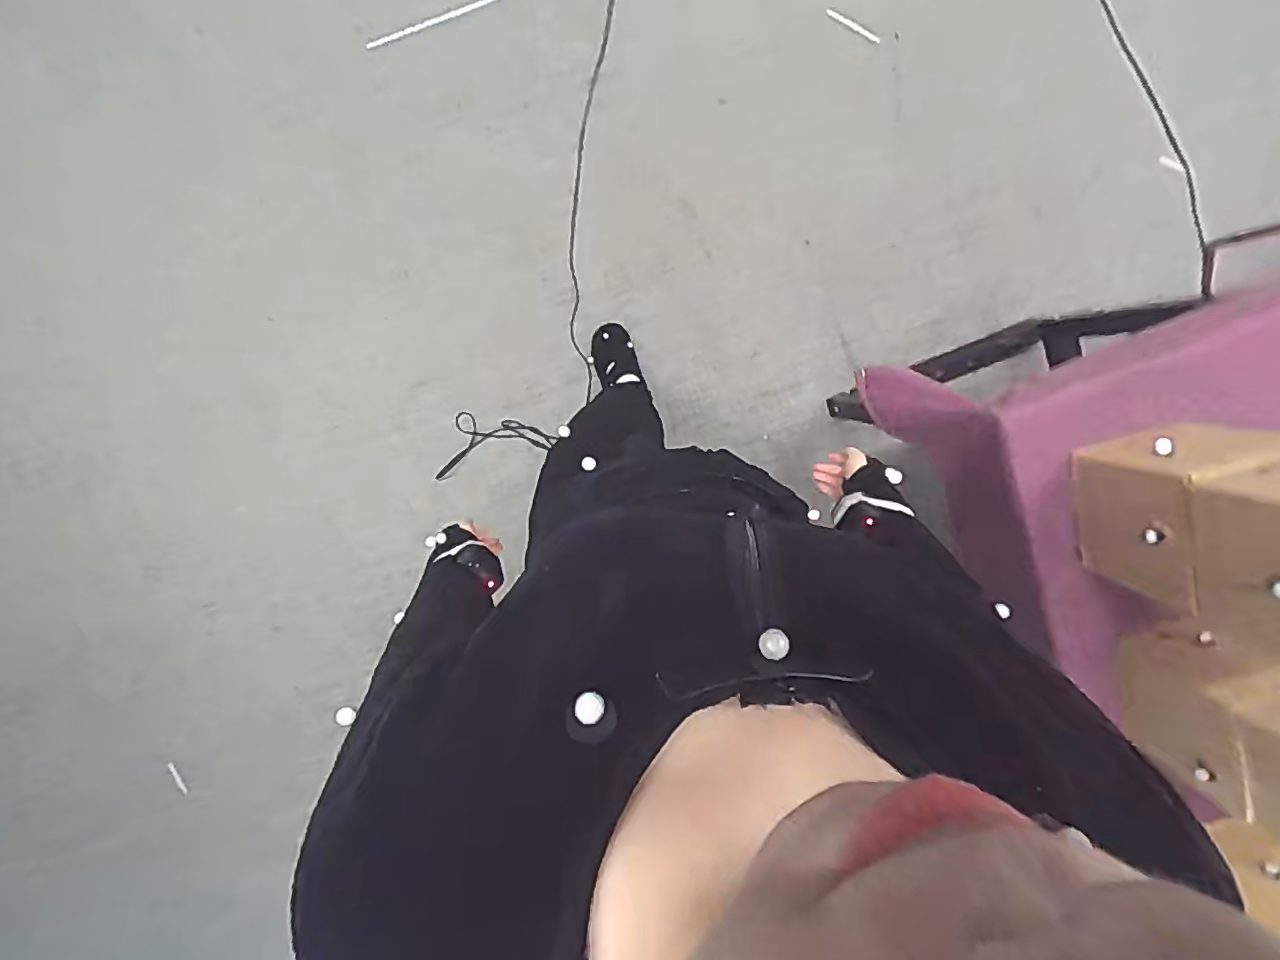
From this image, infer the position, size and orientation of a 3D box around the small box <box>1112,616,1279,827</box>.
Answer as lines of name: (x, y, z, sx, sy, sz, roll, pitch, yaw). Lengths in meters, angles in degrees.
small box: (0.800, 0.317, 0.737, 0.168, 0.176, 0.179, -18, 101, 2)

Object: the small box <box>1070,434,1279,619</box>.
small box: (0.687, 0.045, 0.681, 0.168, 0.176, 0.179, -13, 102, 2)

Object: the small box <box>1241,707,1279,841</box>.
small box: (0.810, 0.348, 0.575, 0.168, 0.176, 0.179, -21, 102, 3)
